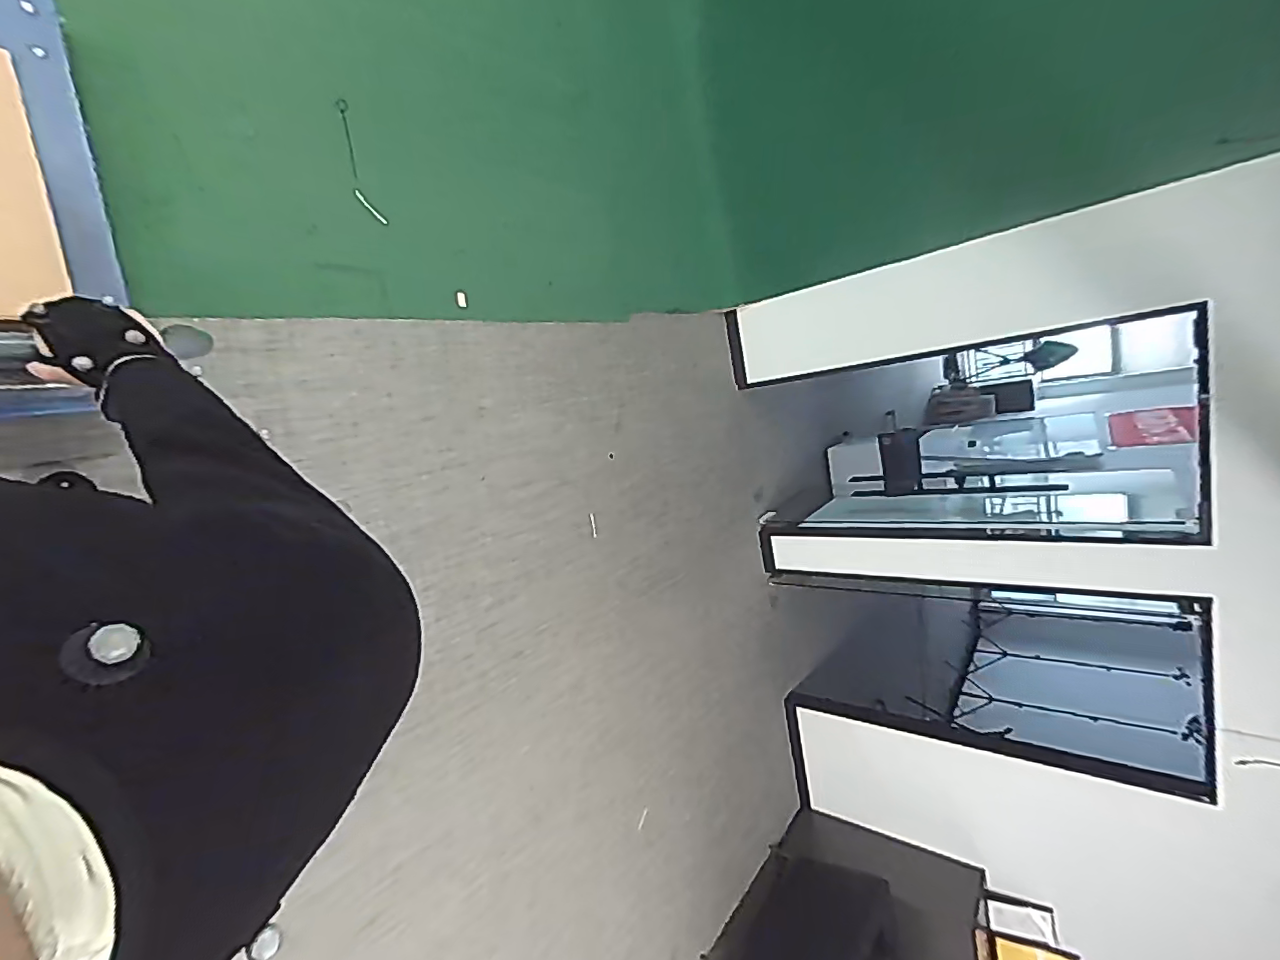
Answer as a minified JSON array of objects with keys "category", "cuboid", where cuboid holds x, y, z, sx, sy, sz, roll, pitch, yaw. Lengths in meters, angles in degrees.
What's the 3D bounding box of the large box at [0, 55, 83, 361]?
[{"category":"large box","cuboid":[-1.122,-0.402,0.814,0.320,0.320,0.408,-17,99,-49]}]
